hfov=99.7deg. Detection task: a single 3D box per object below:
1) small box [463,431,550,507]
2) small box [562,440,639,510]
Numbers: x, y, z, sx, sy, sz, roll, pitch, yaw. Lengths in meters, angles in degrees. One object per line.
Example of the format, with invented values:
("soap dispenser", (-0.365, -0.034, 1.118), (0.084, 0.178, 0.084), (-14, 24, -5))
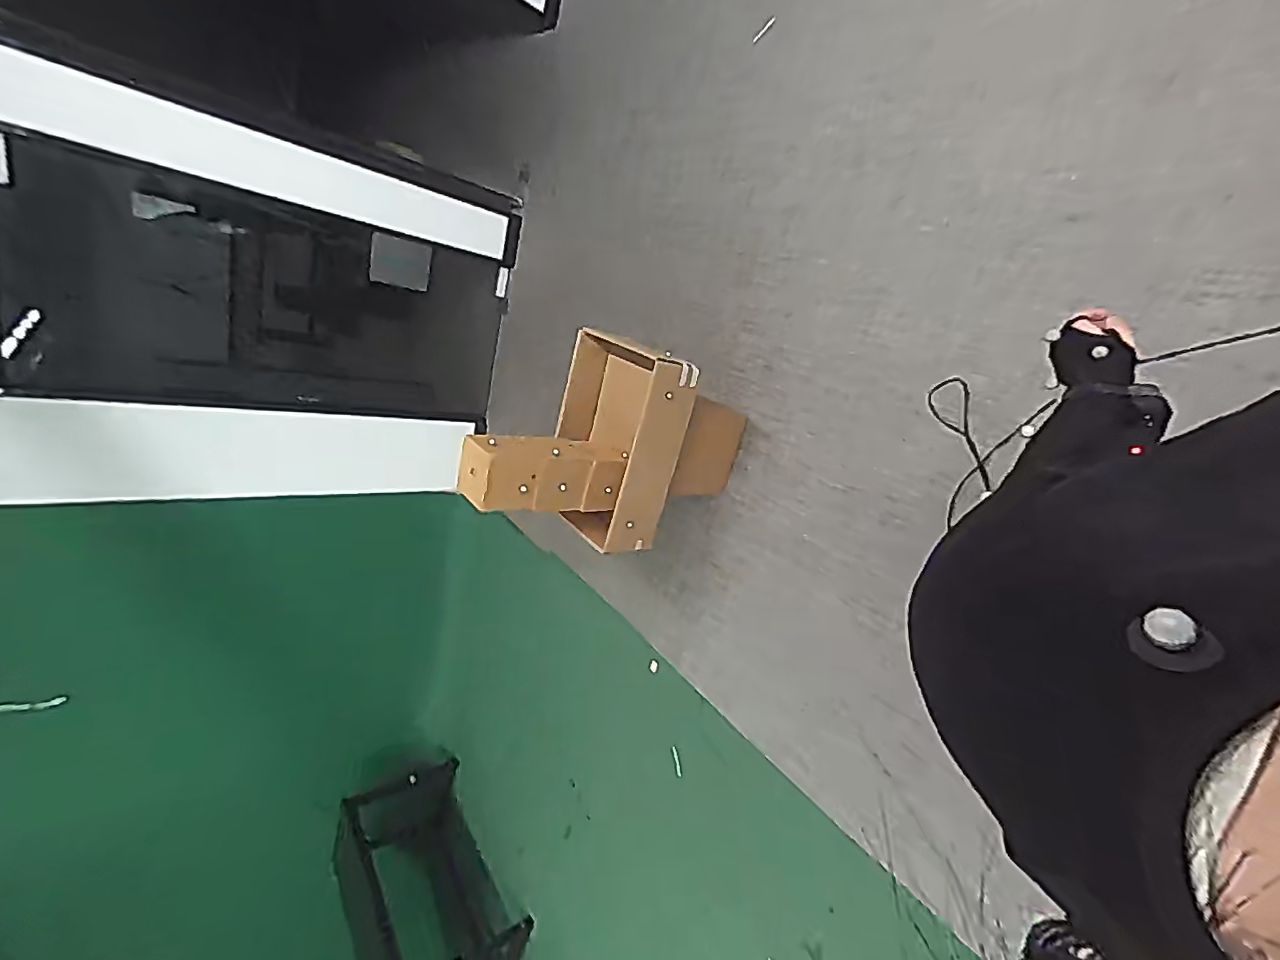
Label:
("small box", (-0.382, -0.030, 1.547), (0.179, 0.176, 0.168), (32, 114, 44))
("small box", (-0.124, -0.018, 1.748), (0.168, 0.176, 0.179), (36, 116, 43))
